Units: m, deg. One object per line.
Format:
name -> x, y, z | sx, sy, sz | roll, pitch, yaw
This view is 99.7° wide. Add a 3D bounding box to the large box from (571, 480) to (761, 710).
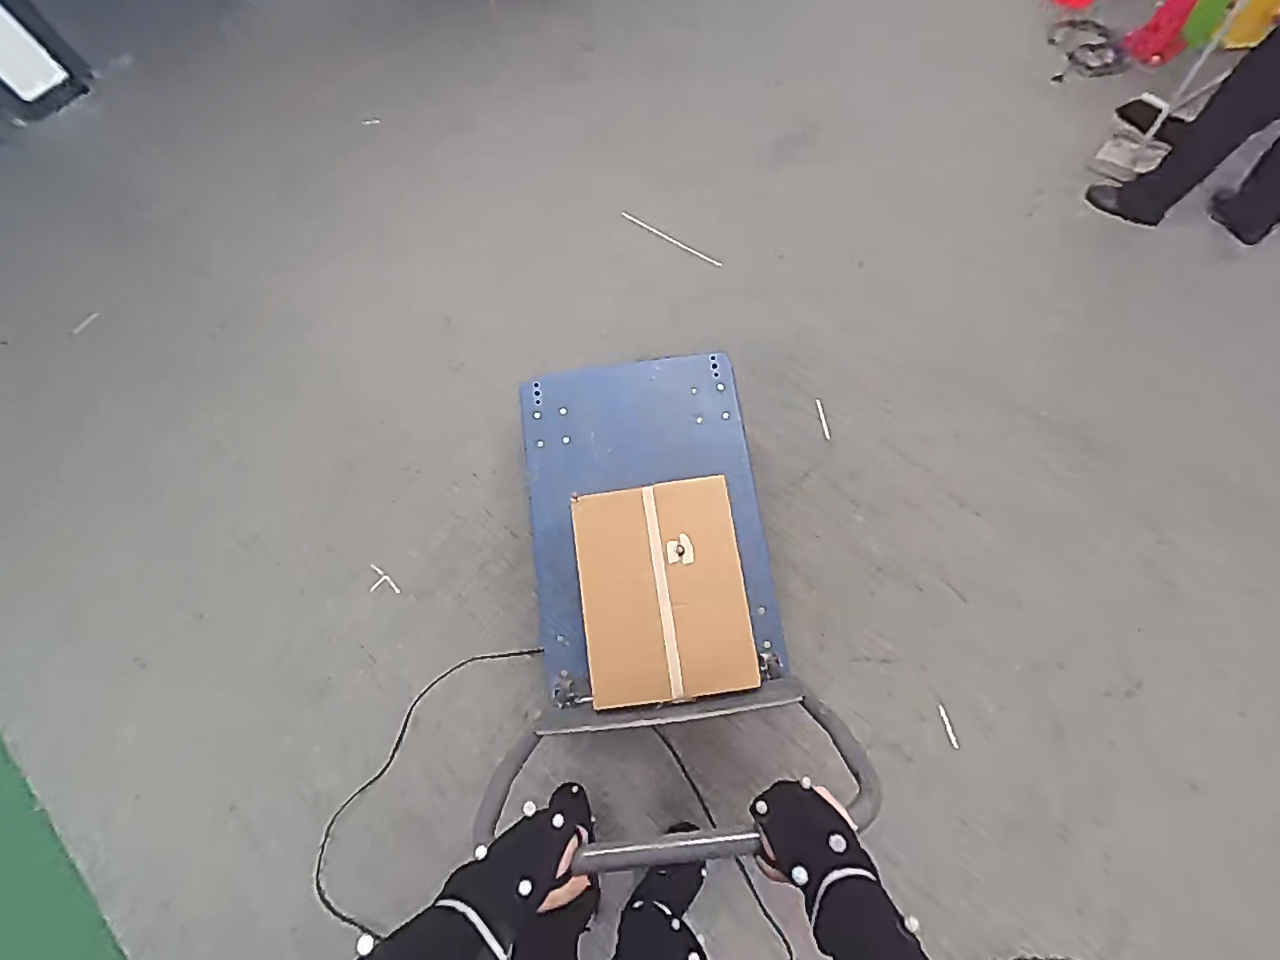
large box -> 0.052, 0.248, 1.181 | 0.320, 0.320, 0.408 | -9, 76, 1
